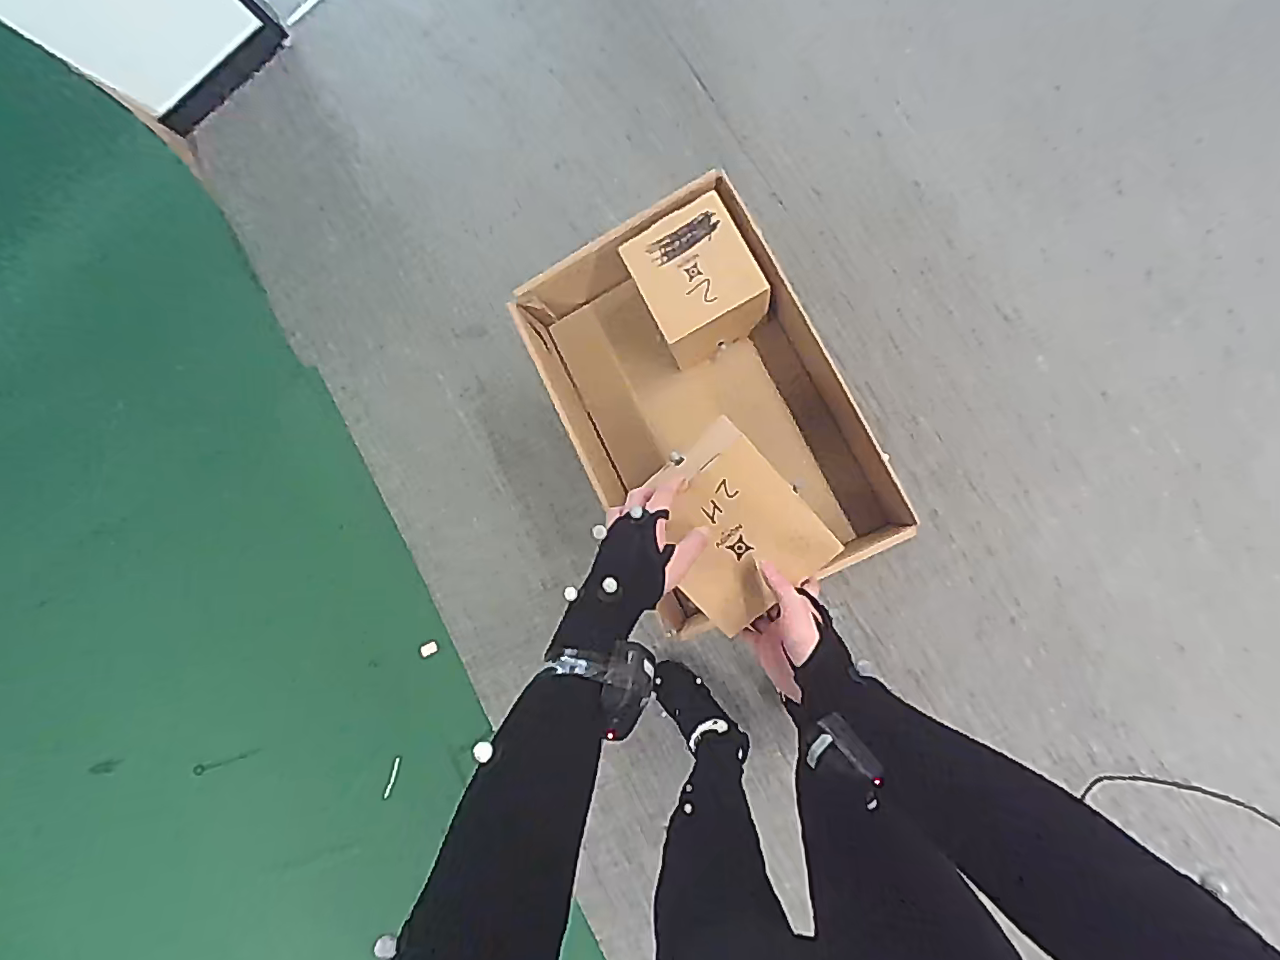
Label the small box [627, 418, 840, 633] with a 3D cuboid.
[{"bbox_3d":[0.106,0.043,0.663,0.168,0.176,0.179,-41,98,11],"label":"small box"}]
